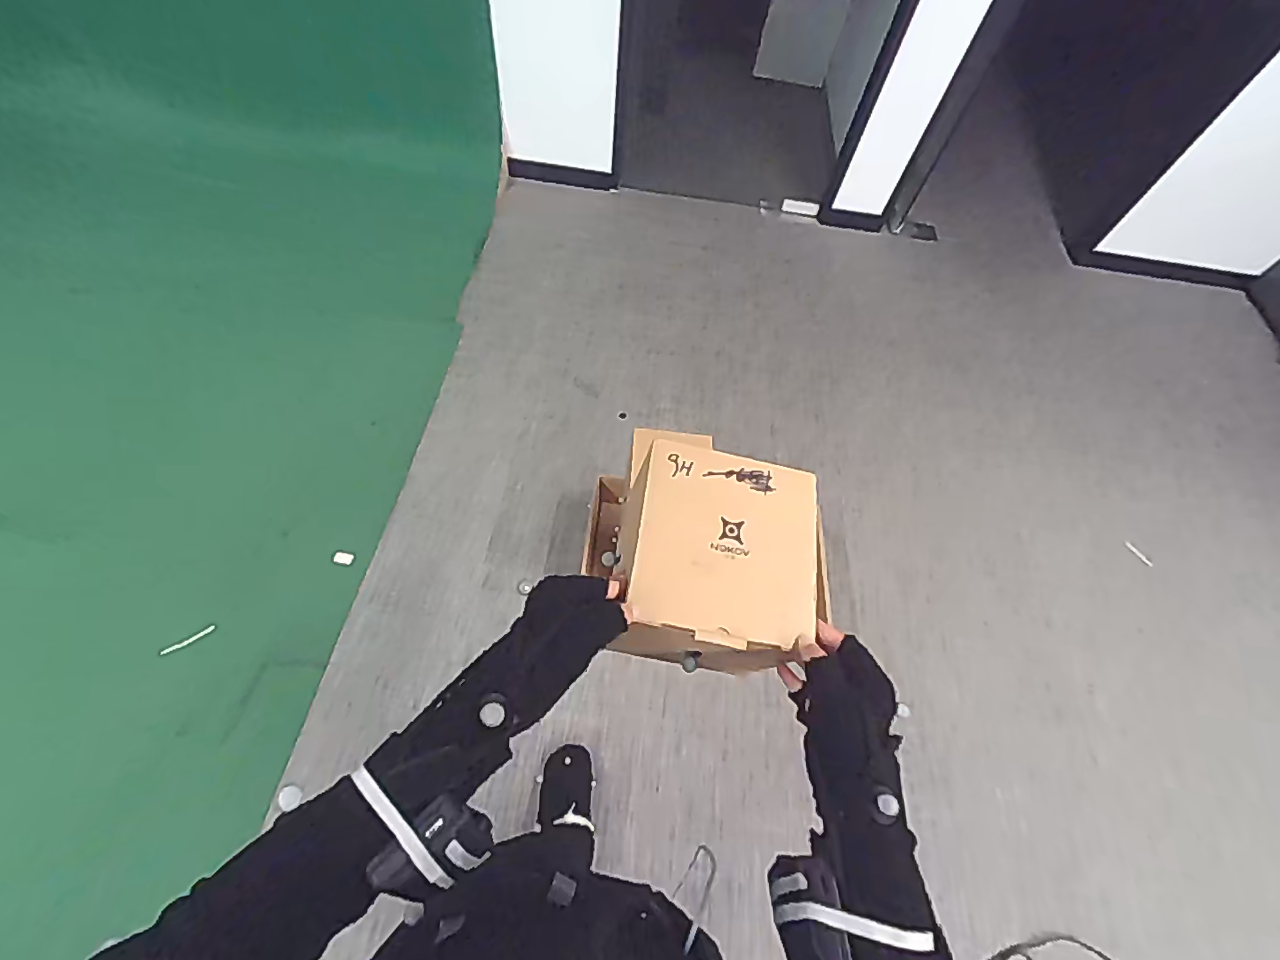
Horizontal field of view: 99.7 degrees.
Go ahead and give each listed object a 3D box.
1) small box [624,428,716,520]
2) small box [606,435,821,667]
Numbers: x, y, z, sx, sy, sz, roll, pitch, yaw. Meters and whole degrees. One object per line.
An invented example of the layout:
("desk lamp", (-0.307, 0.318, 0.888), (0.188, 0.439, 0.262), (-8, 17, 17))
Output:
("small box", (0.059, 0.017, 1.123), (0.168, 0.176, 0.179), (7, 58, -5))
("small box", (0.066, 0.084, 0.548), (0.168, 0.176, 0.179), (13, 65, -6))
